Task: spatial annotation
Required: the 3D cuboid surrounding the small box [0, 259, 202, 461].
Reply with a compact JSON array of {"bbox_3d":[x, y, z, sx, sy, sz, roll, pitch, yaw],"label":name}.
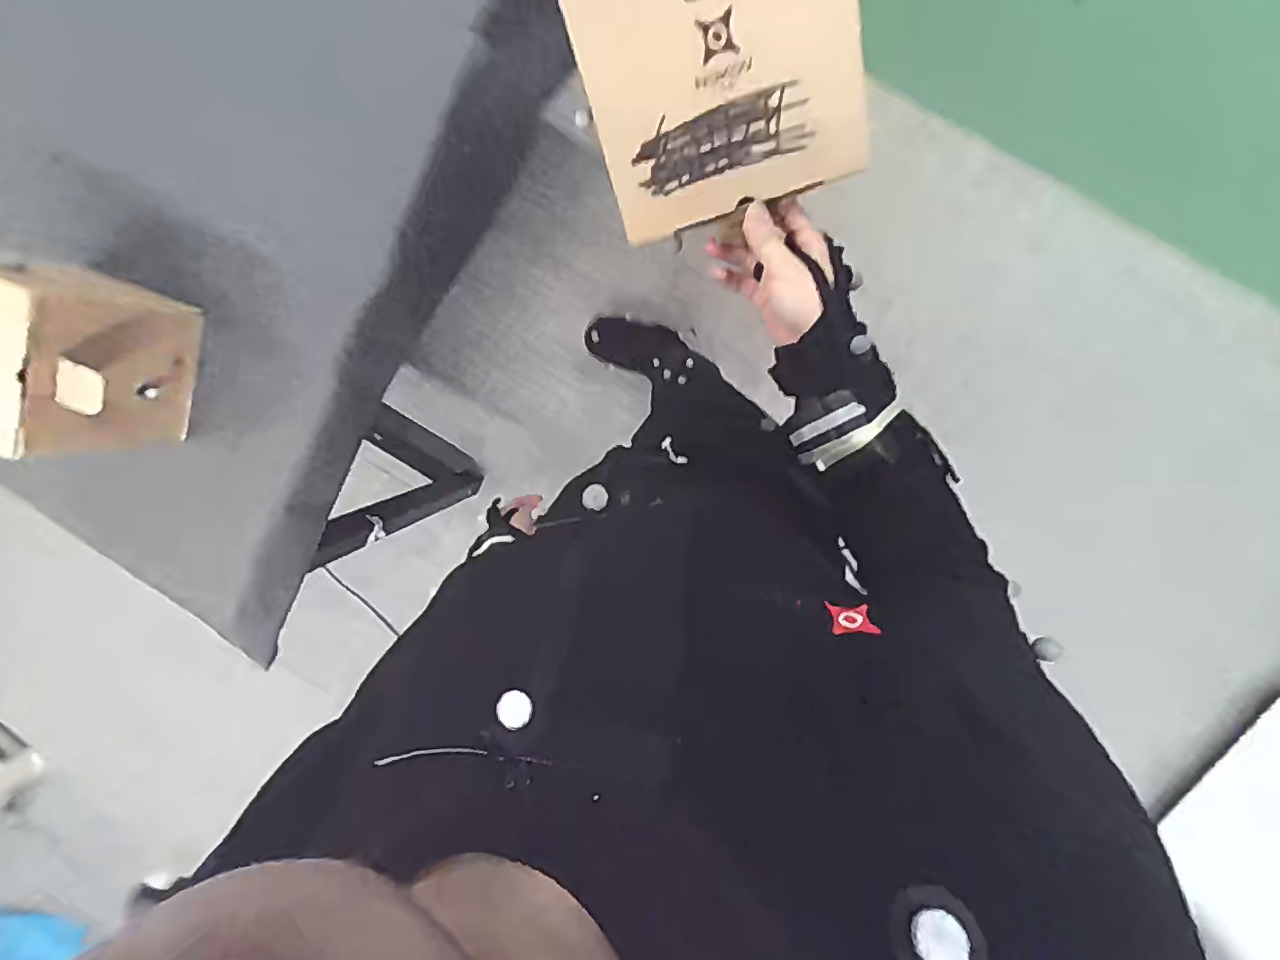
[{"bbox_3d":[-0.632,-0.133,0.581,0.179,0.176,0.168,19,103,5],"label":"small box"}]
